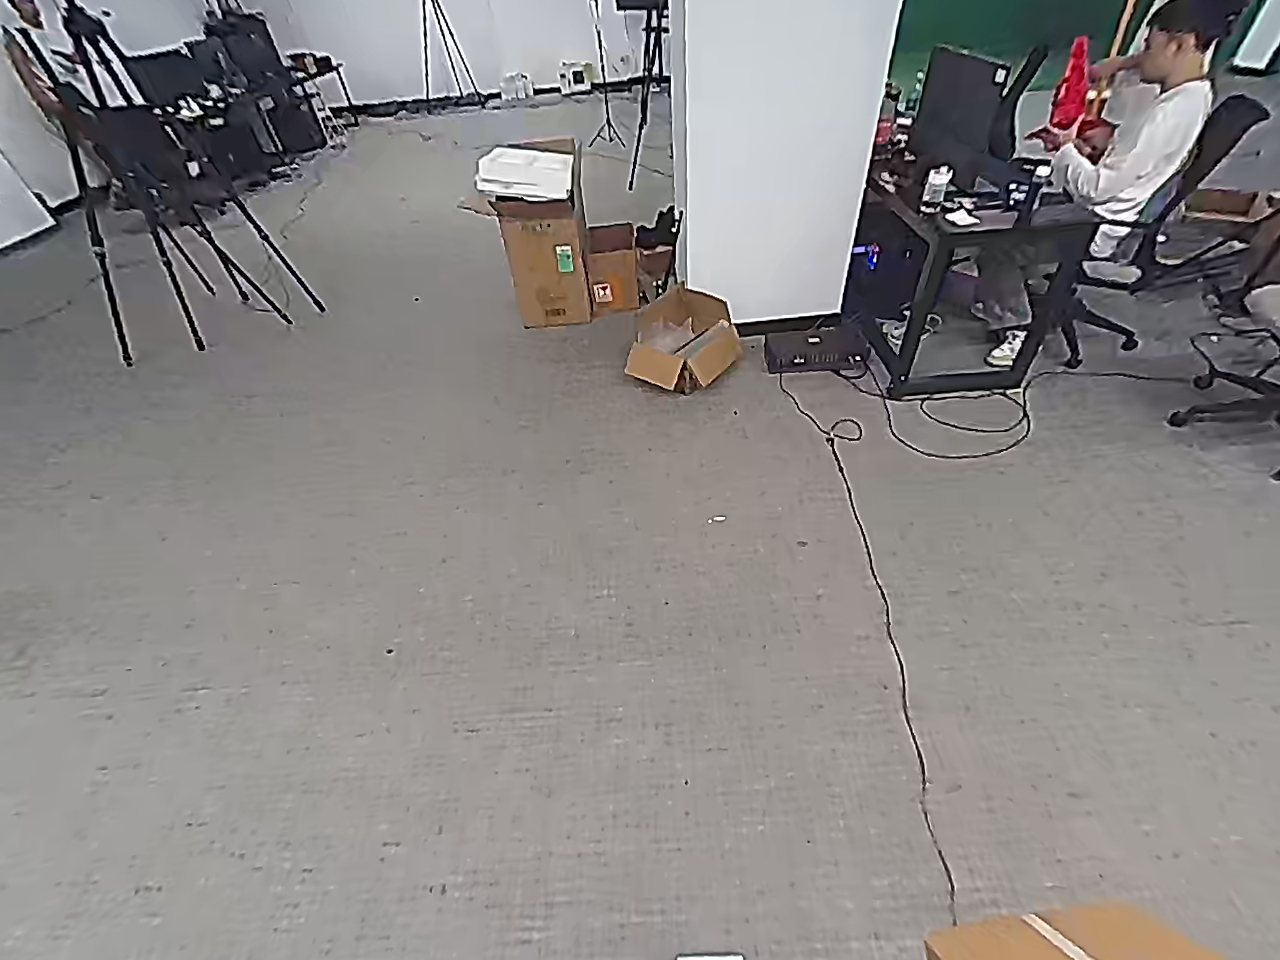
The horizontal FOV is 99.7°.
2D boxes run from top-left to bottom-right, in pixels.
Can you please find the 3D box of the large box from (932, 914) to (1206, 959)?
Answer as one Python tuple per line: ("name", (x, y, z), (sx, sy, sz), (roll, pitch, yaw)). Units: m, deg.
("large box", (0.585, 0.747, 0.554), (0.320, 0.408, 0.320), (-7, 77, -3))
